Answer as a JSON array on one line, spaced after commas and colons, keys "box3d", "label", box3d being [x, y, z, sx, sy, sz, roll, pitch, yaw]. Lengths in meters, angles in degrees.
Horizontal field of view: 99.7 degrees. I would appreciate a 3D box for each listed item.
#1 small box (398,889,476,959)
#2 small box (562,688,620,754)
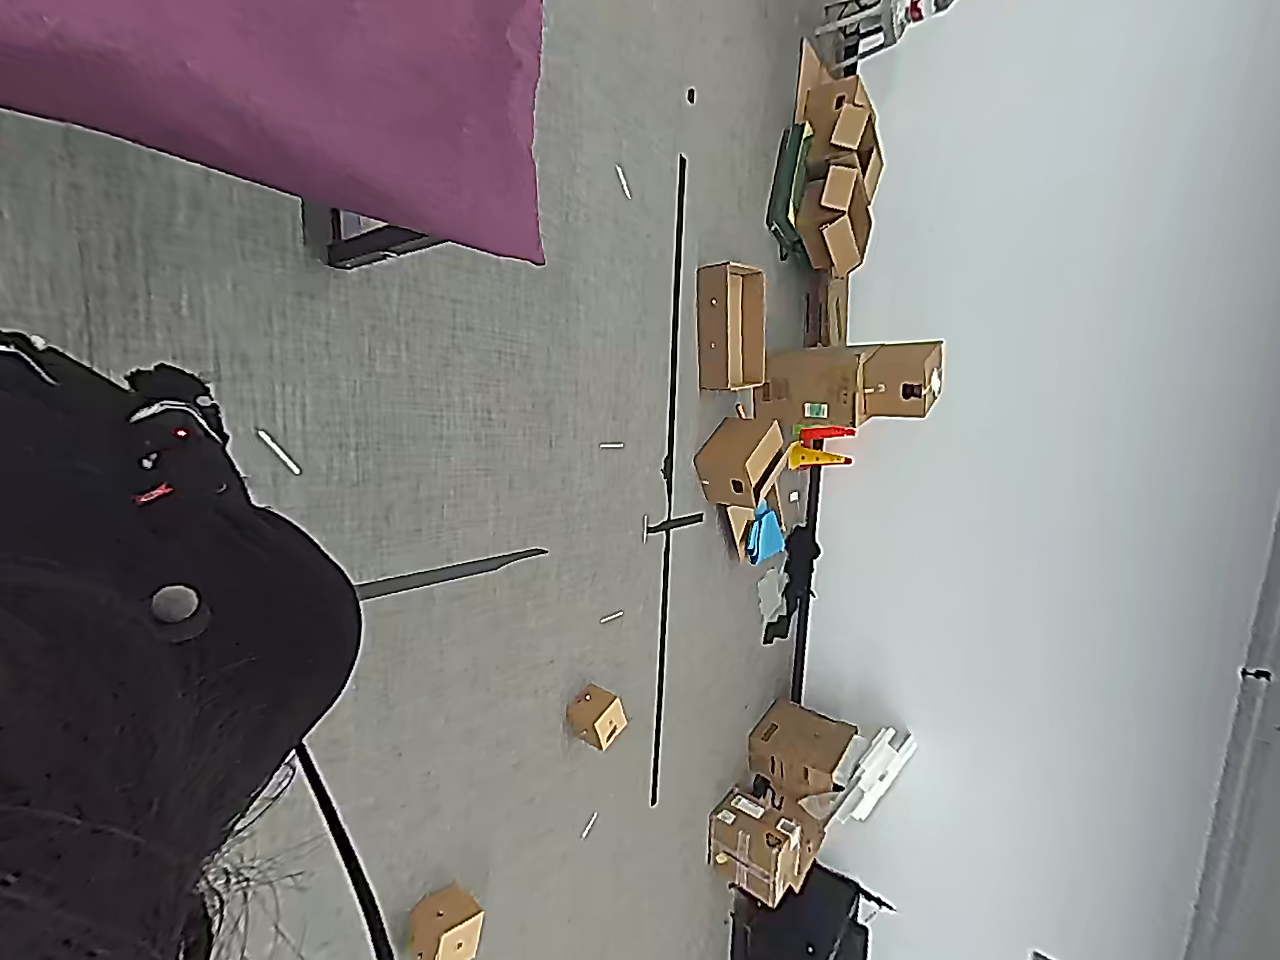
[{"box3d": [-0.697, 1.558, 1.847, 0.179, 0.176, 0.168, 14, 87, -54], "label": "small box"}, {"box3d": [-0.215, 1.045, 2.363, 0.168, 0.176, 0.179, -38, 124, -43], "label": "small box"}]
